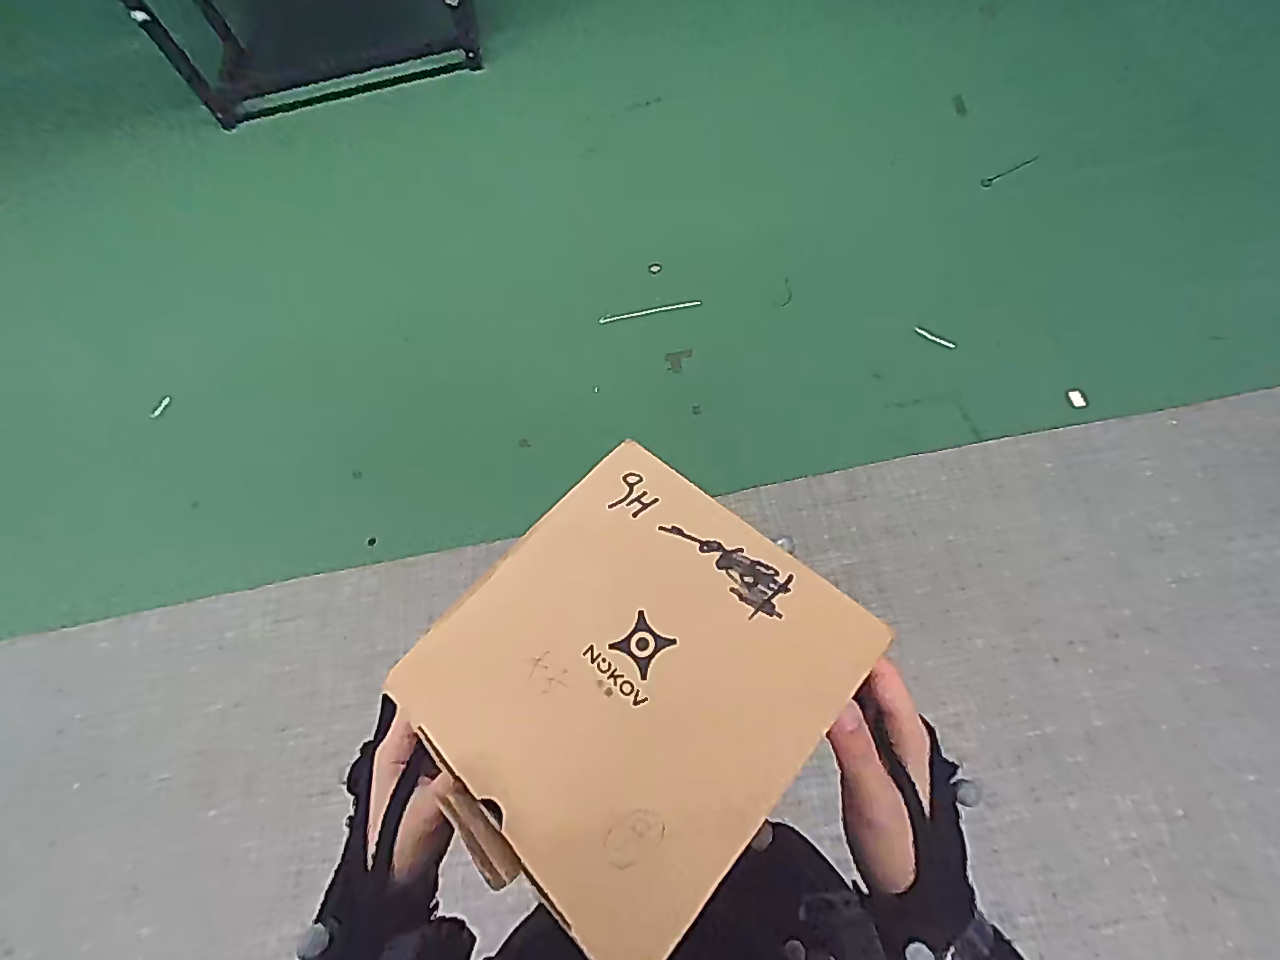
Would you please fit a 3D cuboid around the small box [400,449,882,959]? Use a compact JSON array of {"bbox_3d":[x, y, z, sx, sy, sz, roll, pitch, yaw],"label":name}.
[{"bbox_3d":[0.008,0.122,0.323,0.168,0.176,0.179,37,73,24],"label":"small box"}]
